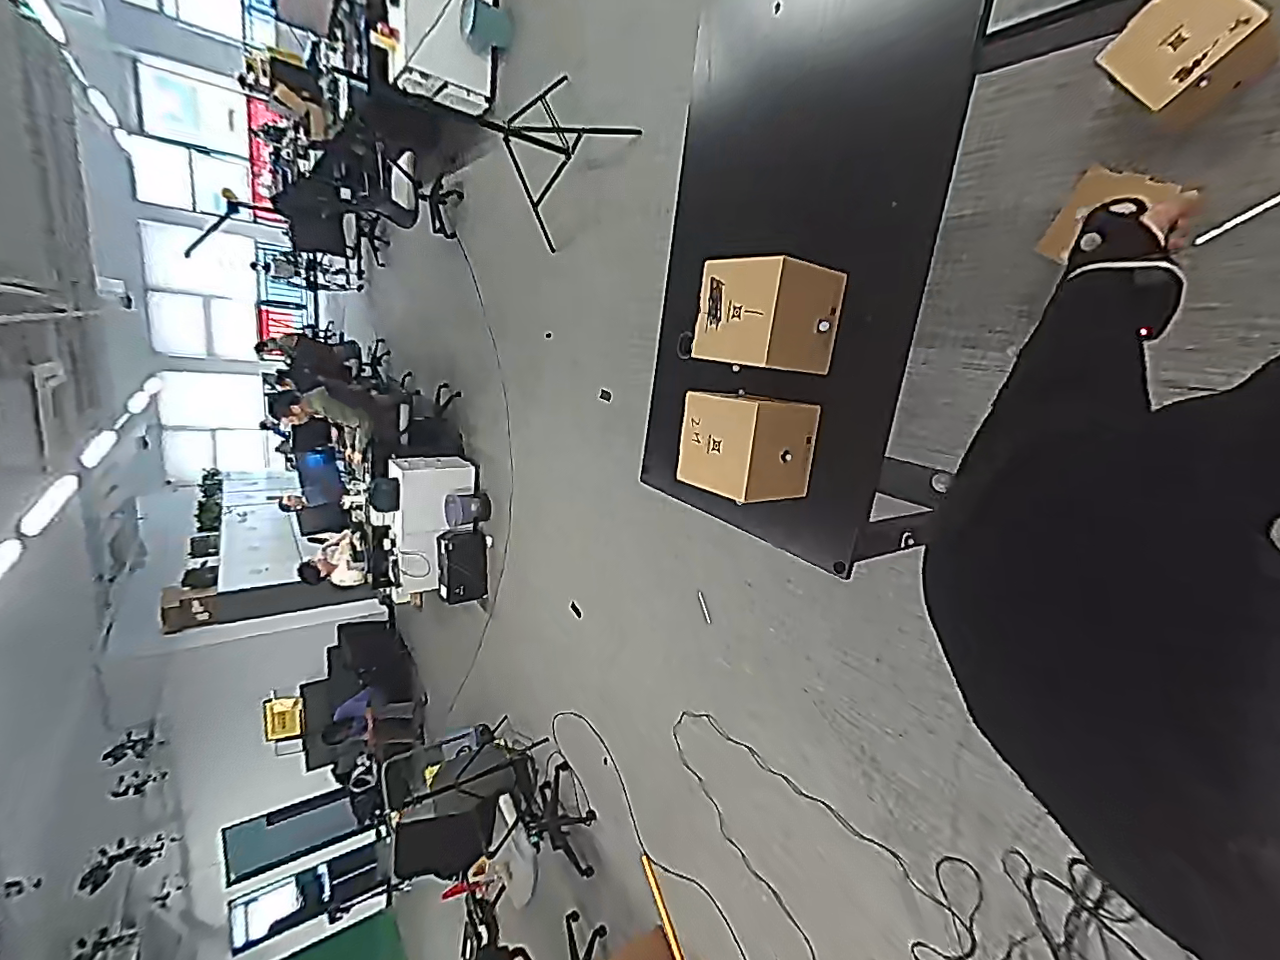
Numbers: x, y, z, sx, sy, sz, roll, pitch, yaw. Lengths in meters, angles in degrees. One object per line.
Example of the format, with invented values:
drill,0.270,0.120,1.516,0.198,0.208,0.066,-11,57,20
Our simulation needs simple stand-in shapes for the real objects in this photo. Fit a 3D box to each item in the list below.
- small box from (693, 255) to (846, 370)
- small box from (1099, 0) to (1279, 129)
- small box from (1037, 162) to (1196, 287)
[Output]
small box,0.219,-0.282,0.928,0.179,0.176,0.168,25,113,50
small box,1.022,-0.801,1.010,0.168,0.176,0.179,-47,57,46
small box,0.977,-0.517,1.107,0.168,0.176,0.179,51,132,39
